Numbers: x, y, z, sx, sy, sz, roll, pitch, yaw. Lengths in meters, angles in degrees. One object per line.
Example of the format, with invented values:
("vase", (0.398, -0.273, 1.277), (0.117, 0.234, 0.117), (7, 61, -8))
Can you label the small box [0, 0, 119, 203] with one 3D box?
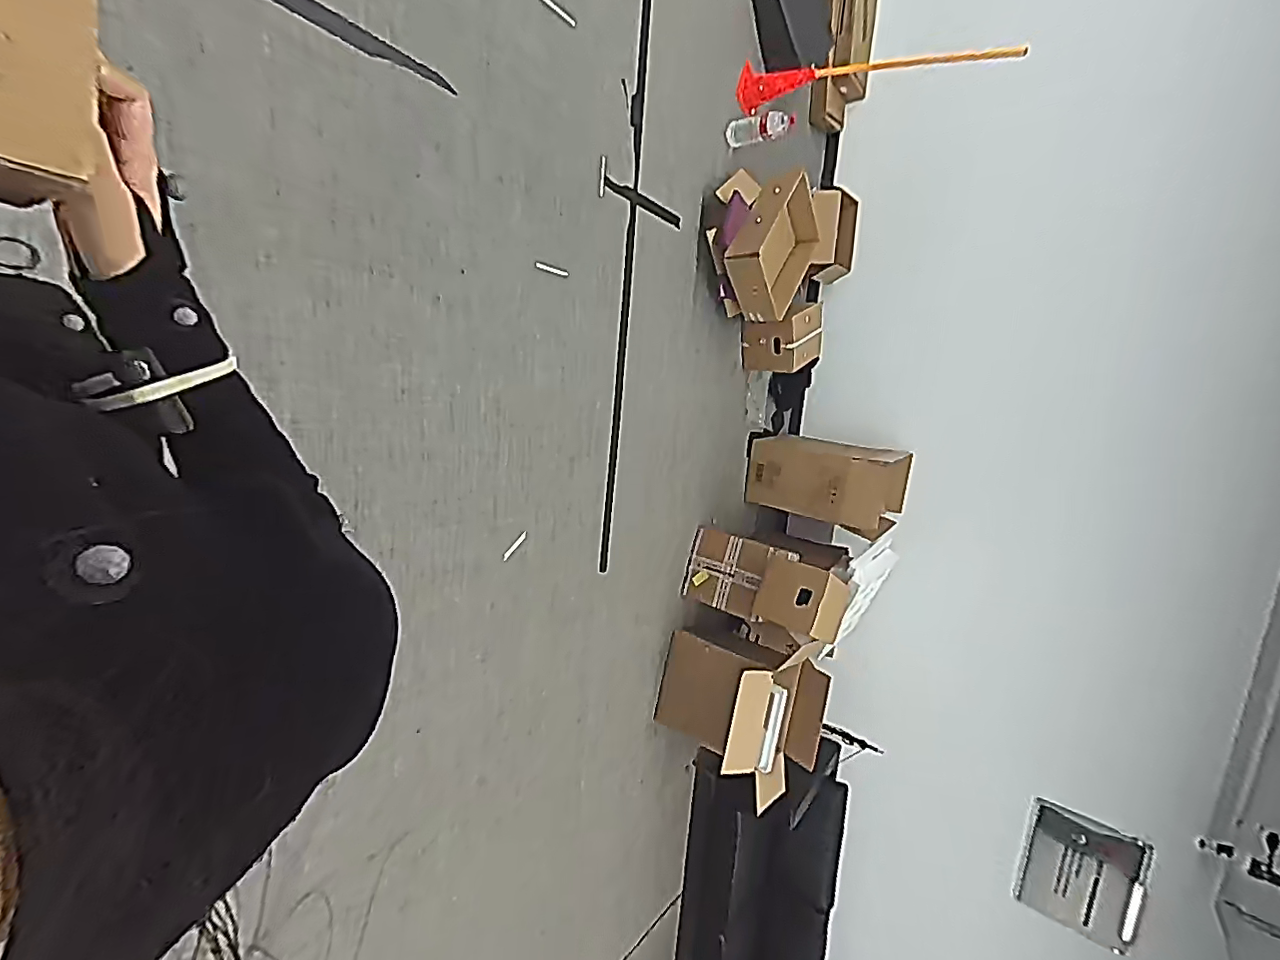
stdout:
("small box", (-0.343, -0.230, 0.216), (0.168, 0.176, 0.179), (-6, 109, -57))
